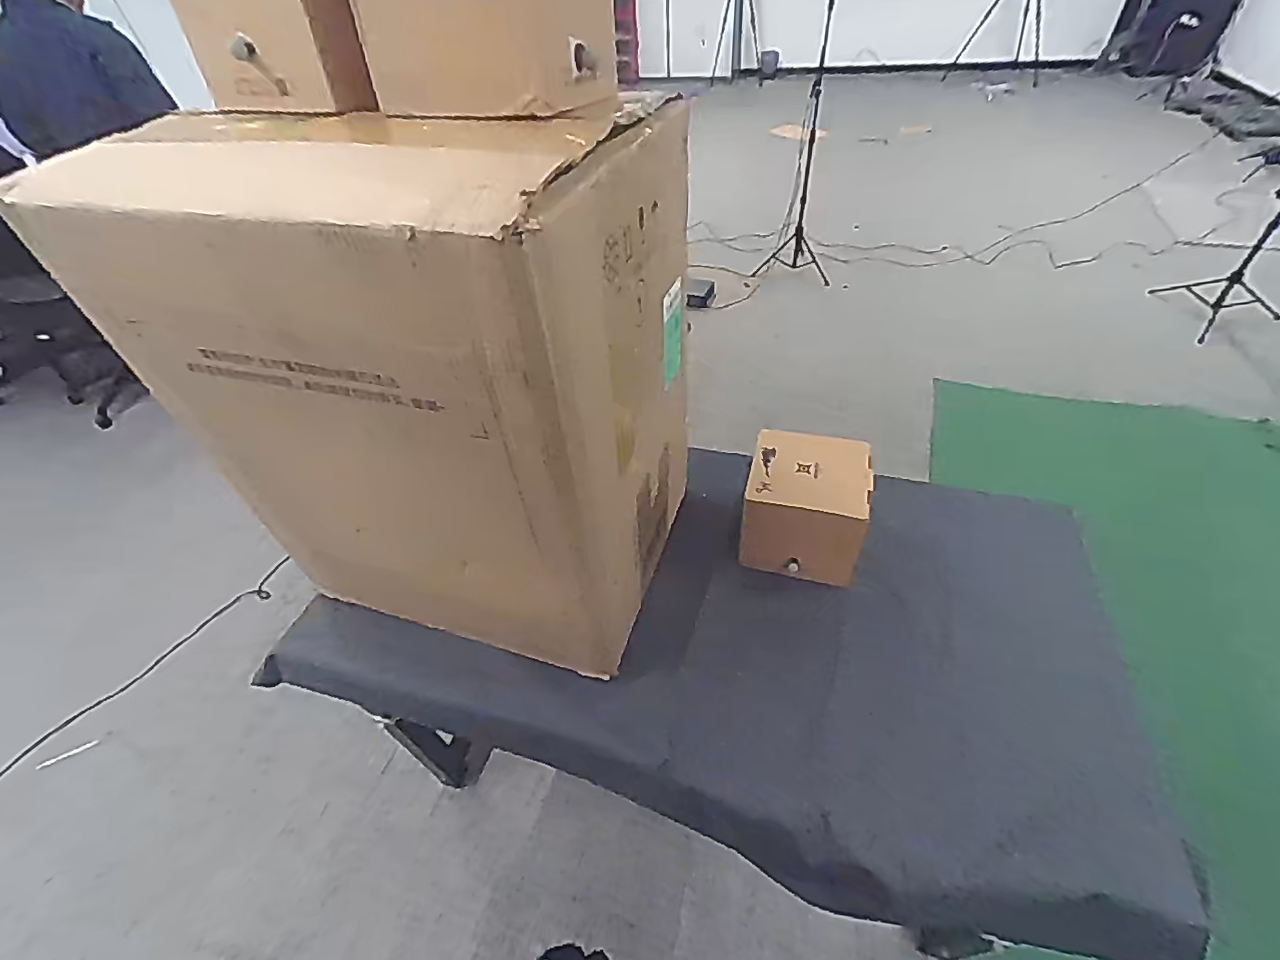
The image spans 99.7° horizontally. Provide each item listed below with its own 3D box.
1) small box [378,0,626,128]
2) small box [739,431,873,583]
[{"bbox_3d":[-0.122,-0.431,0.494,0.179,0.176,0.168,12,43,15],"label":"small box"},{"bbox_3d":[0.268,0.046,0.885,0.179,0.176,0.168,11,47,15],"label":"small box"}]
